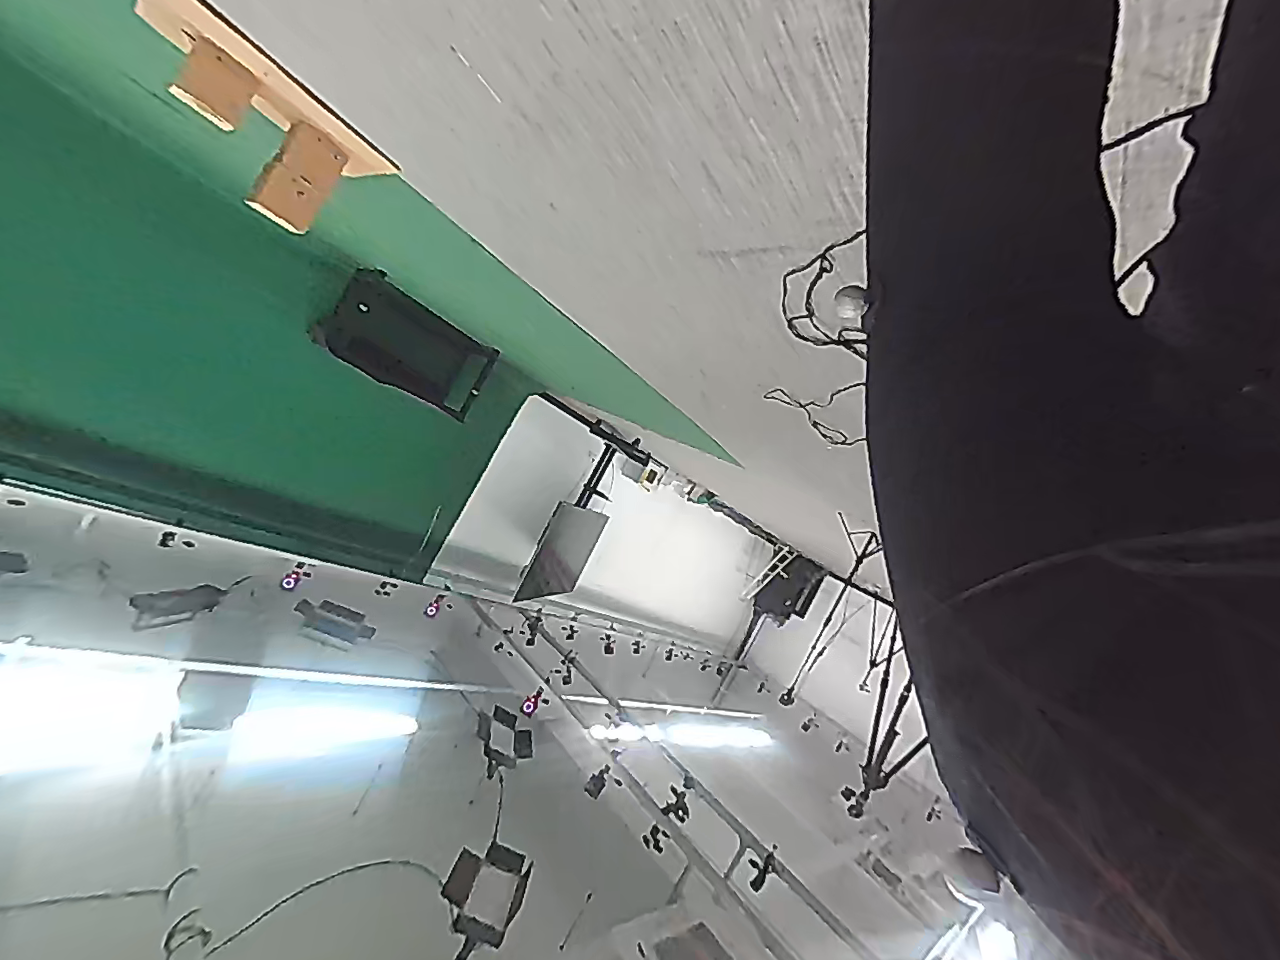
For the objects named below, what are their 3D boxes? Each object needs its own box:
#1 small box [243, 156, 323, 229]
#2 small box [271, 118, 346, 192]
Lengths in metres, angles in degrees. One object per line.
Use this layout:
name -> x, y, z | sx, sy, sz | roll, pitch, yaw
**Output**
small box -> -1.288, -1.041, 1.956 | 0.179, 0.176, 0.168 | 27, 177, 39
small box -> -1.197, -1.177, 1.956 | 0.179, 0.176, 0.168 | 29, 179, 40
